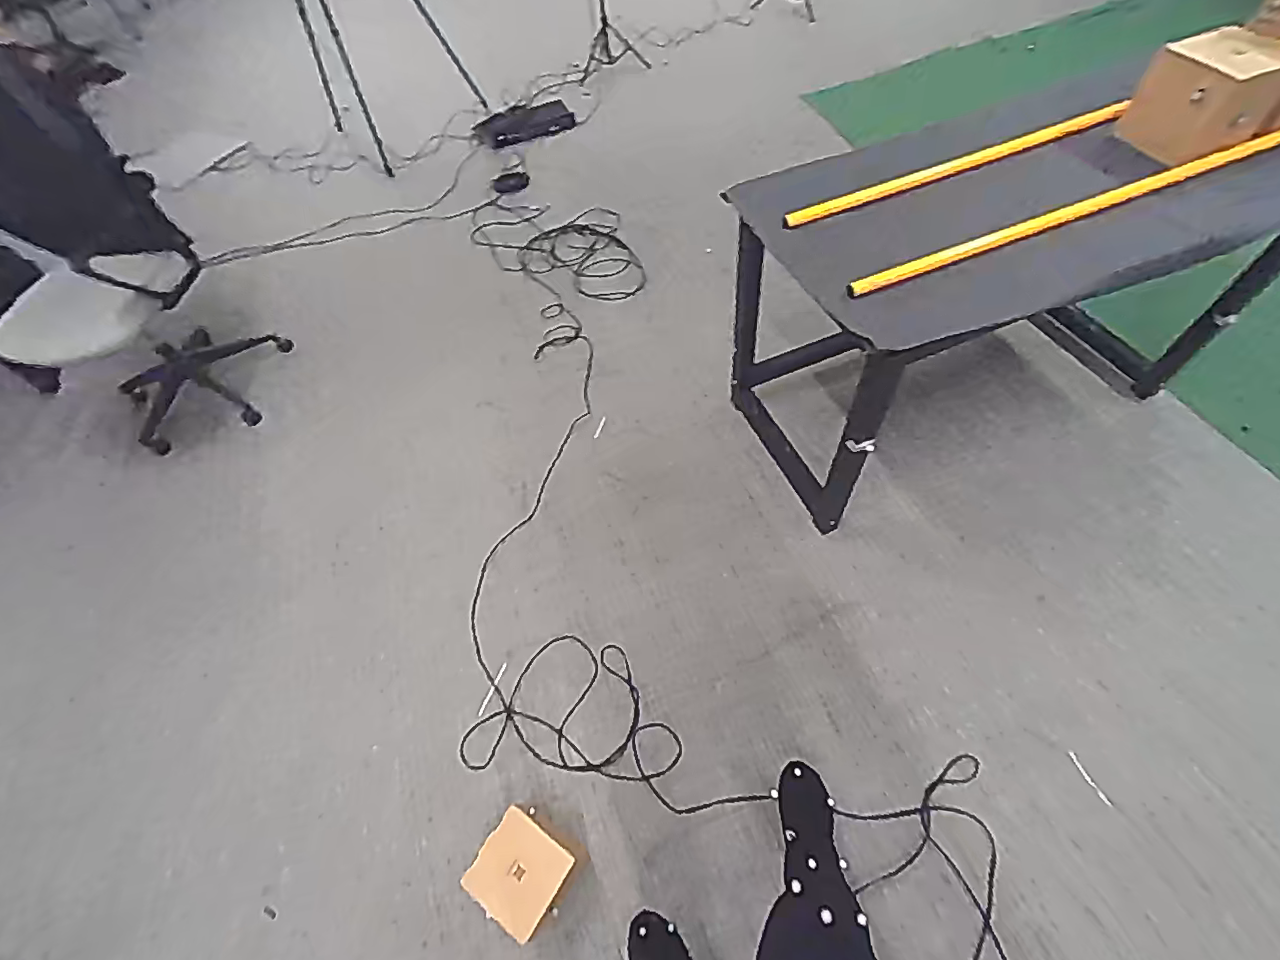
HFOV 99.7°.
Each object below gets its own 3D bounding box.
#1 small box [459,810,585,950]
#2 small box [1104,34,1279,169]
[{"bbox_3d":[-0.236,0.827,1.139,0.179,0.176,0.168,27,65,22],"label":"small box"},{"bbox_3d":[1.137,-0.771,1.117,0.168,0.176,0.179,-19,57,-5],"label":"small box"}]
